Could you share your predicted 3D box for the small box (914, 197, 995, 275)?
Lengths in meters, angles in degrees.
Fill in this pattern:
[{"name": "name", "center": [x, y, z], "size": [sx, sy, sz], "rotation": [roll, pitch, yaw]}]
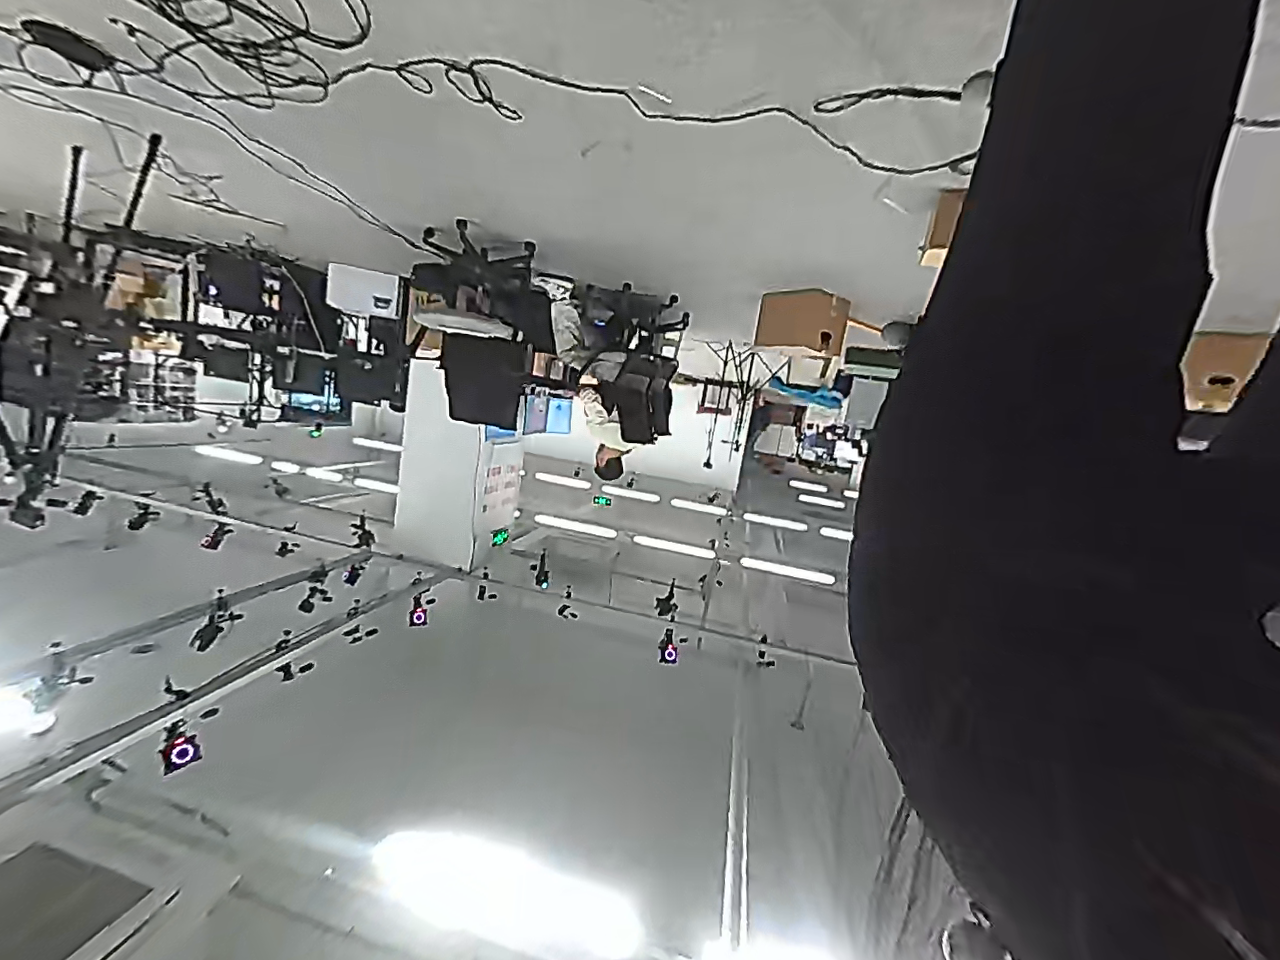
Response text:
[{"name": "small box", "center": [0.961, -0.746, 1.658], "size": [0.168, 0.176, 0.179], "rotation": [12, -172, 18]}]
